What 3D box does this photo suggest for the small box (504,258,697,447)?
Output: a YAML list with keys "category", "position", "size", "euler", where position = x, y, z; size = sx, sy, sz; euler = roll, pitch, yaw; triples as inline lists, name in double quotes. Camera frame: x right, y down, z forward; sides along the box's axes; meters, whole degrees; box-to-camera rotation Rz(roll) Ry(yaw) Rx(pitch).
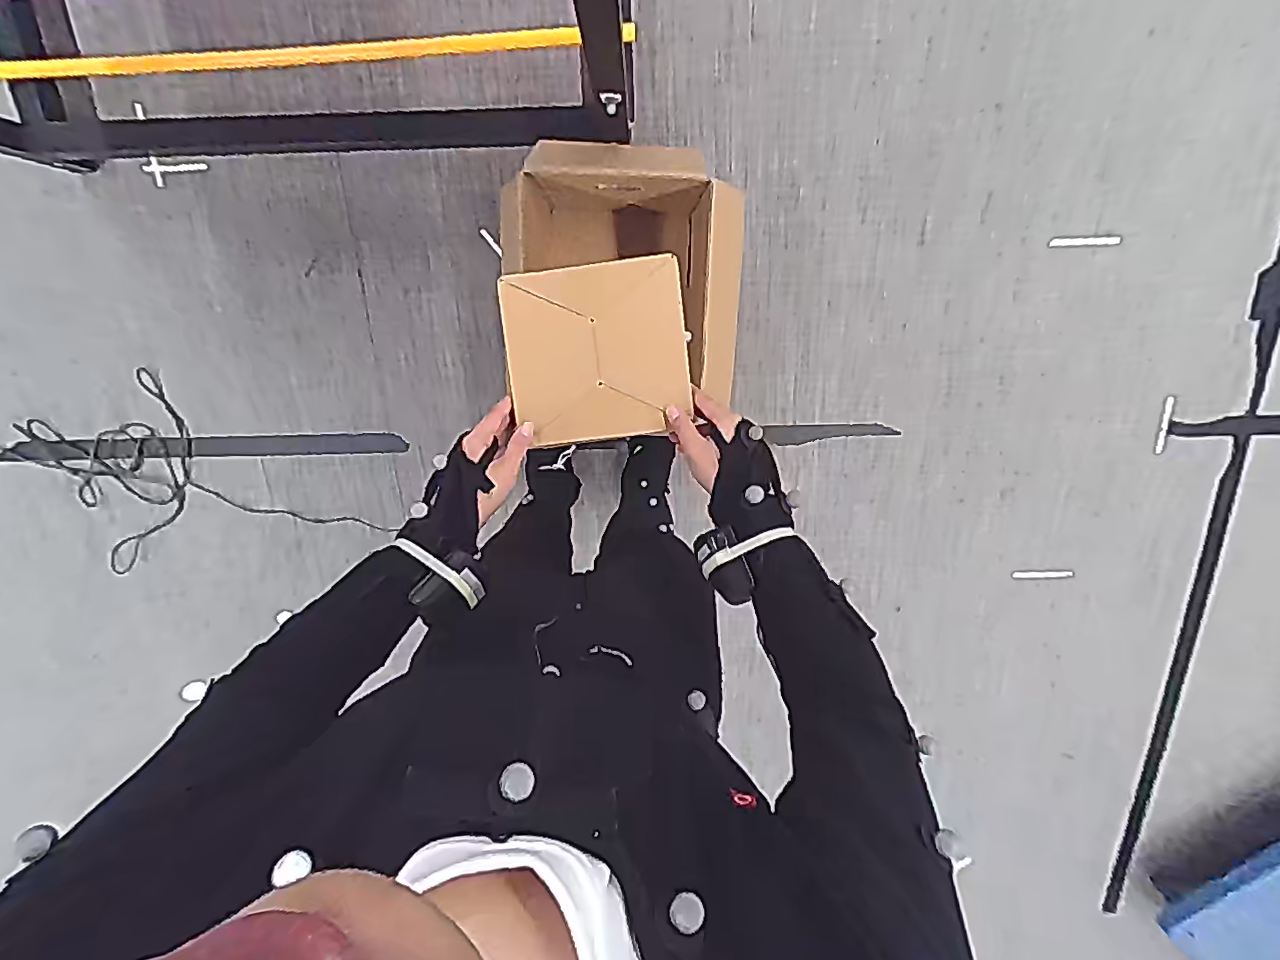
- category: "small box"
  position: [-0.039, -0.129, 0.597]
  size: [0.179, 0.176, 0.168]
  euler: [-7, 93, 2]
